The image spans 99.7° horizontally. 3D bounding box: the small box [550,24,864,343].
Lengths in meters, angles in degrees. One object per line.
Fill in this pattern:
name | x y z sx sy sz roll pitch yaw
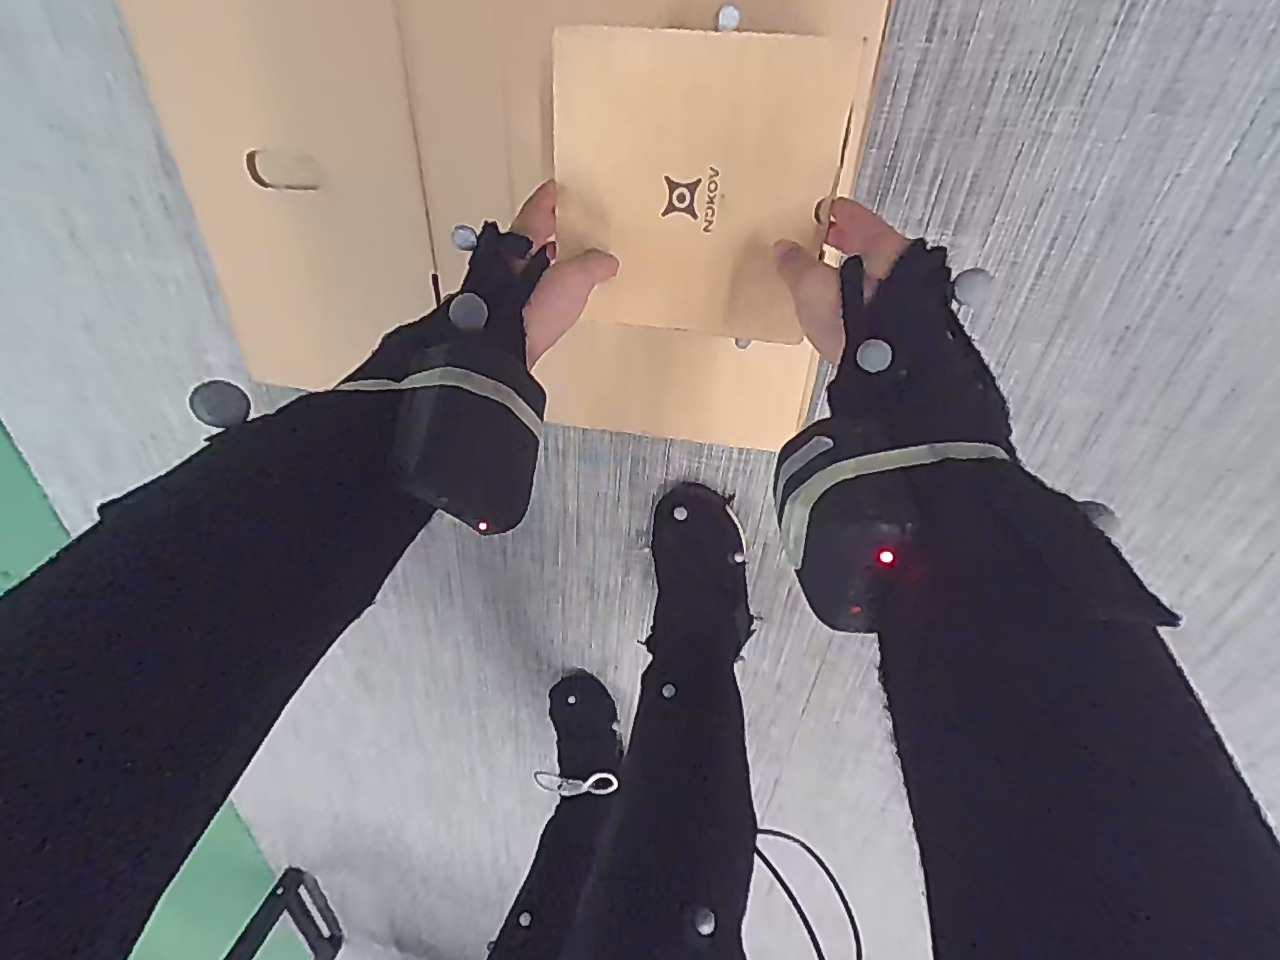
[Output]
small box | 0.044 -0.215 0.405 0.179 0.176 0.168 9 121 7
